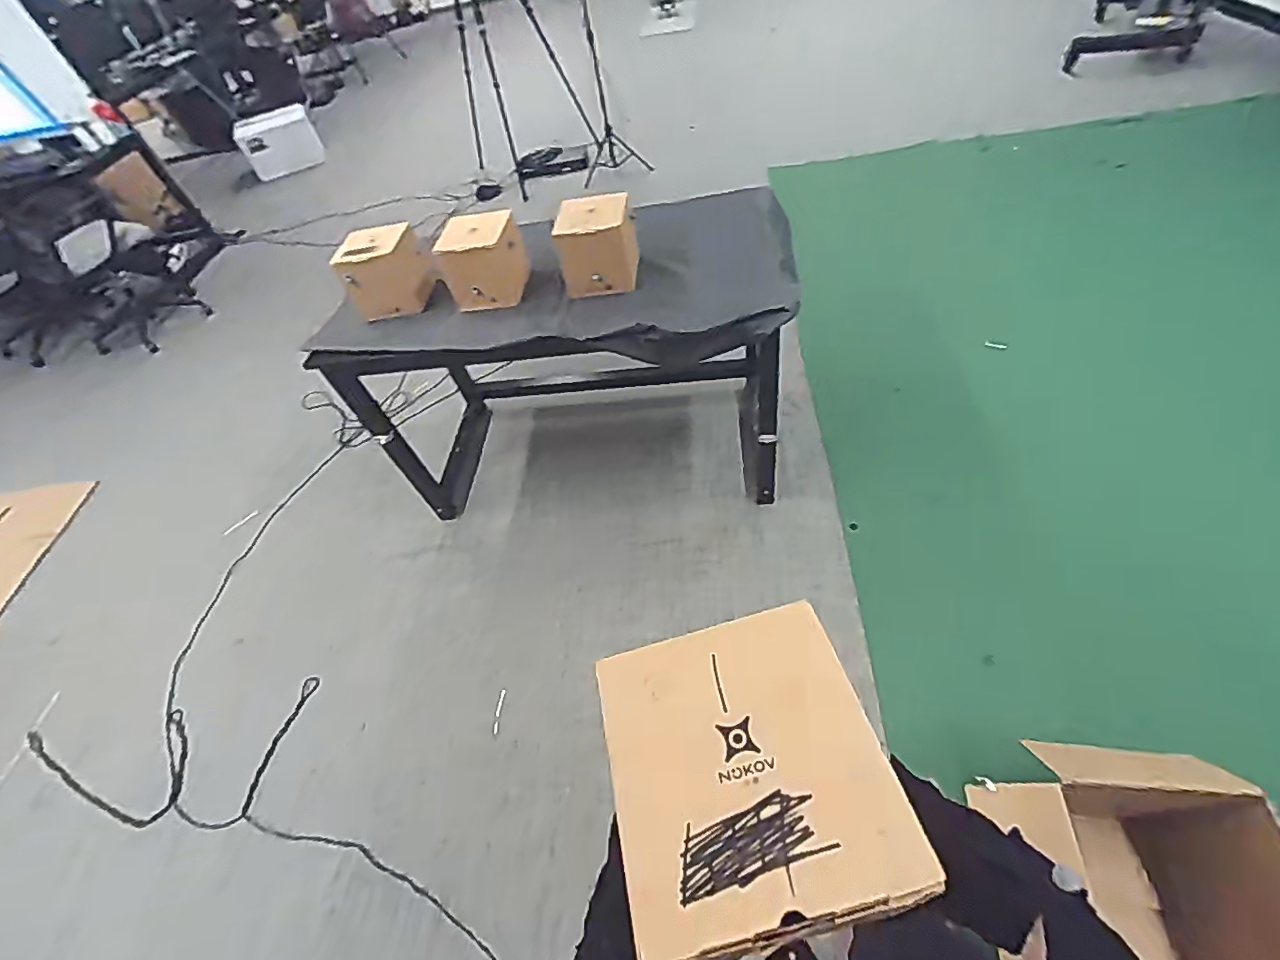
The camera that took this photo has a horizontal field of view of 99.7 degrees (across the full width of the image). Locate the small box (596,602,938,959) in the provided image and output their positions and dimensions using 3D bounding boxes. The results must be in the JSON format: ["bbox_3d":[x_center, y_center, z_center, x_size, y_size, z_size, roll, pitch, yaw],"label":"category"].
[{"bbox_3d":[0.078,0.223,0.394,0.168,0.176,0.179,-16,46,0],"label":"small box"}]

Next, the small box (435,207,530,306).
[{"bbox_3d":[-0.391,-0.570,1.385,0.168,0.176,0.179,-2,52,9],"label":"small box"}]

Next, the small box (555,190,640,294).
[{"bbox_3d":[-0.097,-0.585,1.336,0.168,0.176,0.179,-2,52,10],"label":"small box"}]
